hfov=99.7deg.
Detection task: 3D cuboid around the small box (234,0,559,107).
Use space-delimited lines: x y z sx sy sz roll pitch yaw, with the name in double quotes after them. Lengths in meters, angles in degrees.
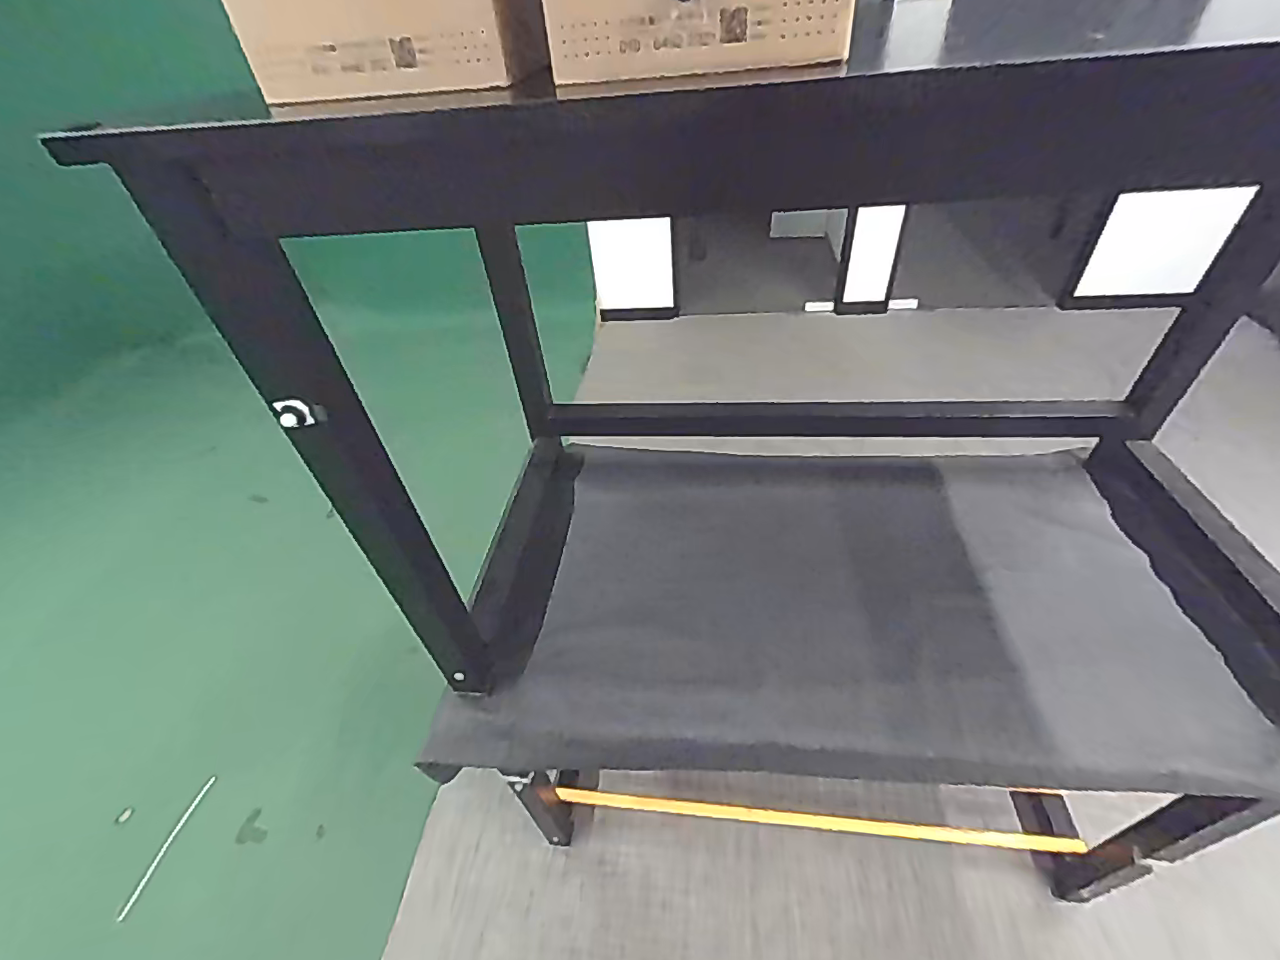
-0.159 -0.357 0.356 0.168 0.176 0.179 2 42 7 "small box"
